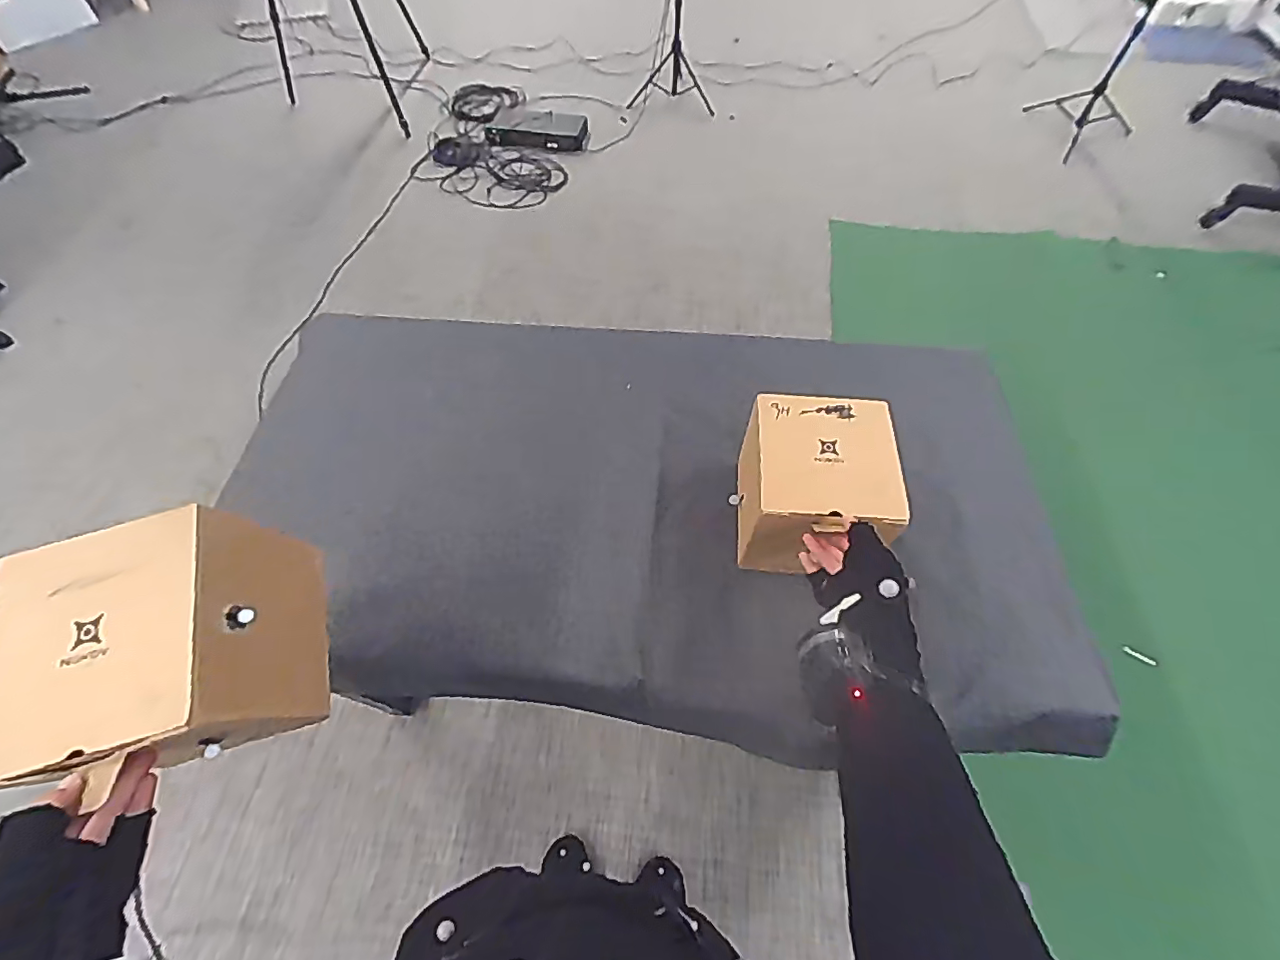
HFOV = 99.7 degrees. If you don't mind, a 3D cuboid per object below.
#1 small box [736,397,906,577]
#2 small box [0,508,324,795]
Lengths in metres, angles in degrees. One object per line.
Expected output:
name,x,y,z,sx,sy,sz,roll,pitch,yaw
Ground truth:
small box,0.222,0.015,0.710,0.168,0.176,0.179,5,59,2
small box,-0.406,0.149,0.475,0.168,0.176,0.179,-16,68,-3
